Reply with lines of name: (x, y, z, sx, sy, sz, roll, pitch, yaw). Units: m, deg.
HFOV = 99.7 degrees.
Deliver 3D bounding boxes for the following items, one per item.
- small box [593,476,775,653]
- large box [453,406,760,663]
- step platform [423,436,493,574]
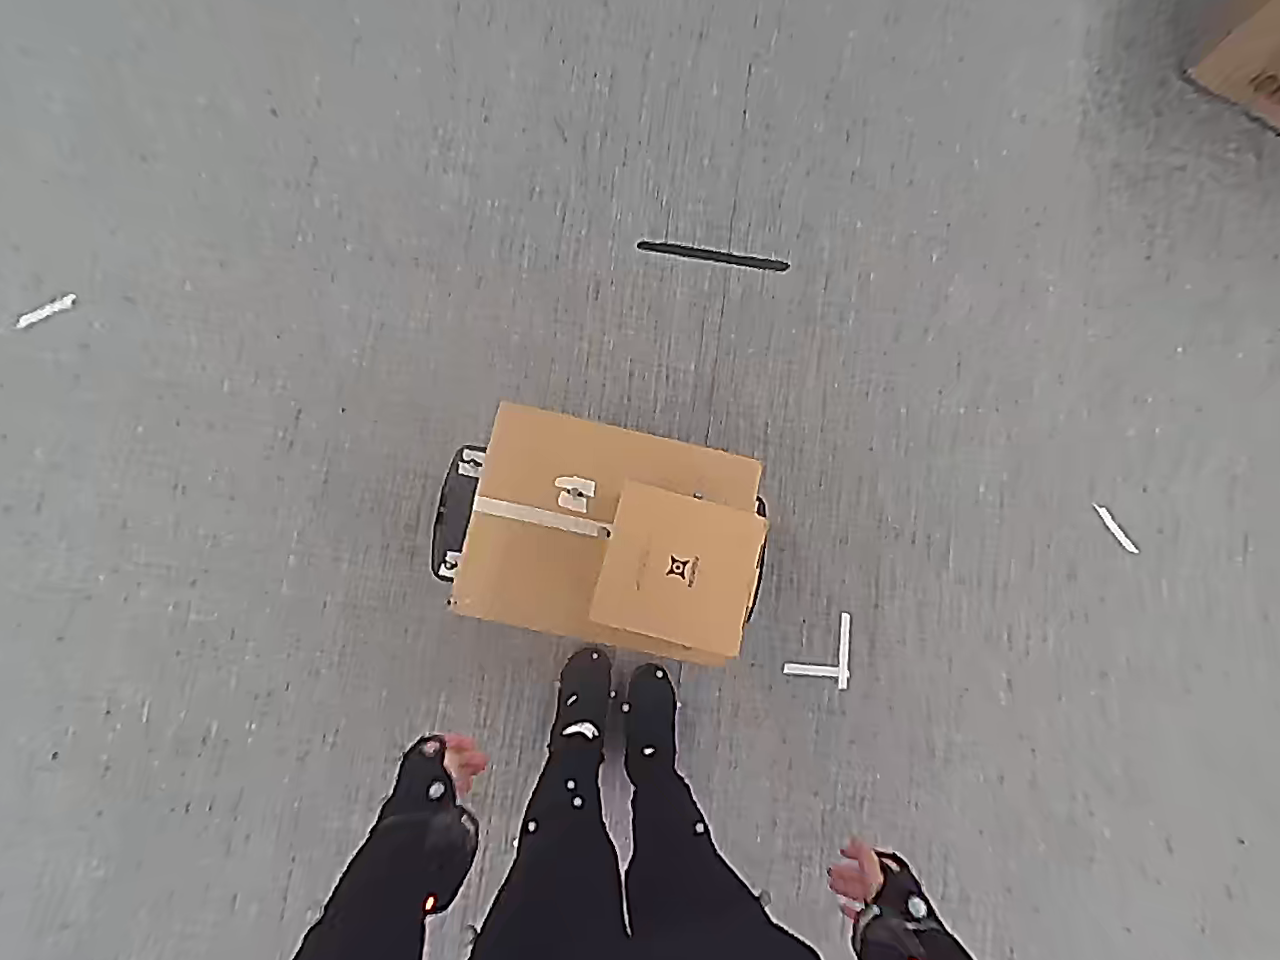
small box: (0.046, 0.102, 0.686, 0.179, 0.176, 0.168, 16, 82, -2)
large box: (-0.048, 0.095, 0.928, 0.408, 0.320, 0.320, 12, 81, -2)
step platform: (-0.093, 0.124, 1.161, 0.684, 0.204, 0.286, 14, 82, -2)
